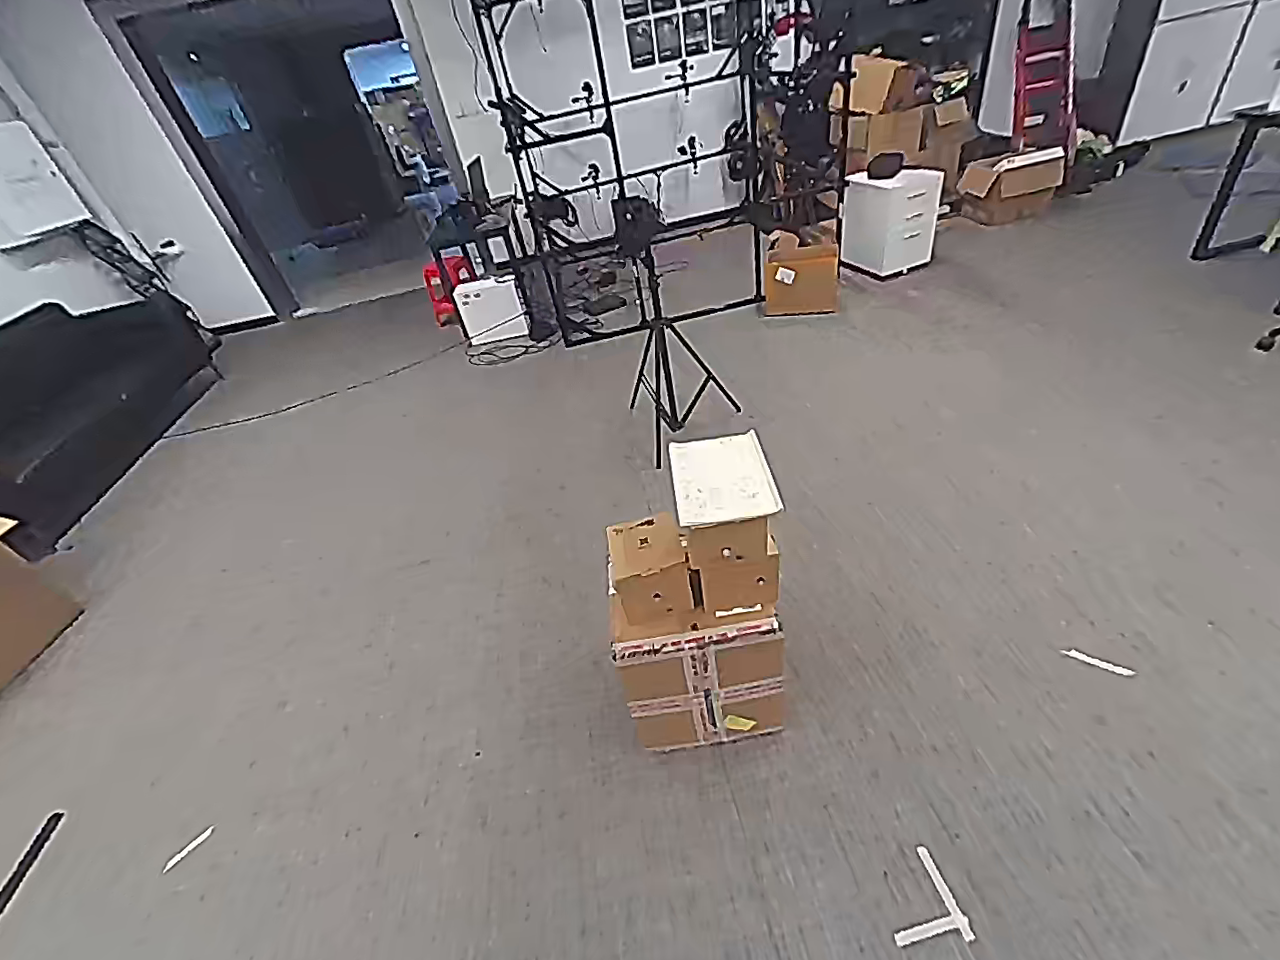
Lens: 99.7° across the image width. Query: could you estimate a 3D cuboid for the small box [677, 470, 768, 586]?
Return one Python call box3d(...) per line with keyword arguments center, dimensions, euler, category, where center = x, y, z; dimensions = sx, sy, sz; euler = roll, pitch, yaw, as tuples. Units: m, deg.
box3d(center=(0.172, 0.103, 1.157), dimensions=(0.168, 0.176, 0.179), euler=(-7, 40, 3), category="small box")
